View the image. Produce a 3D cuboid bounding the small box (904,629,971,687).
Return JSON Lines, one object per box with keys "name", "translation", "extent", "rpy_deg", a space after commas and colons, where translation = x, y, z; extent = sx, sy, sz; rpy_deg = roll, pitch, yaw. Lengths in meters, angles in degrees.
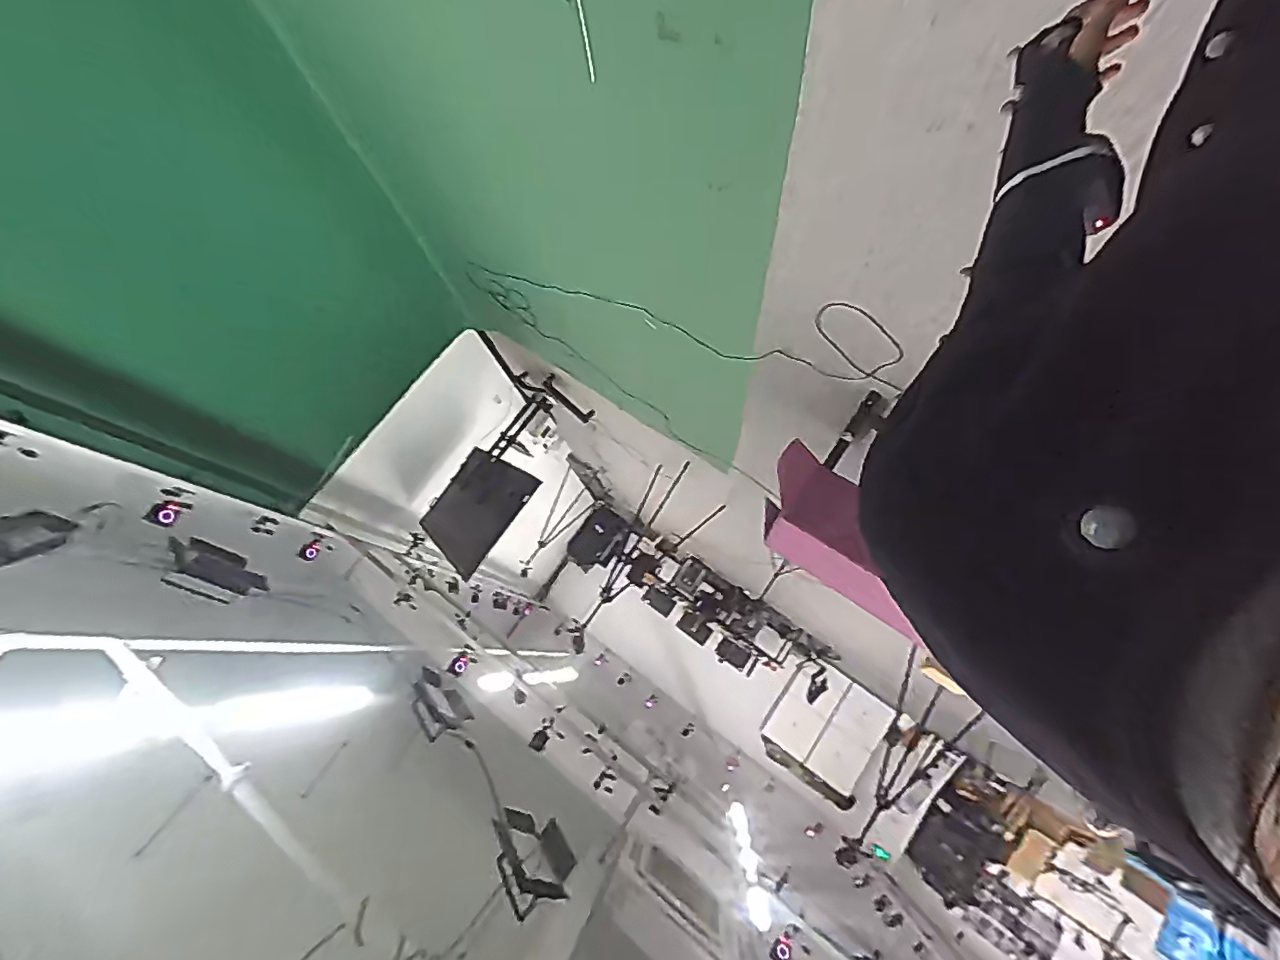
{"name": "small box", "translation": [1.231, 0.735, 2.237], "extent": [0.168, 0.176, 0.179], "rpy_deg": [34, 169, 21]}
